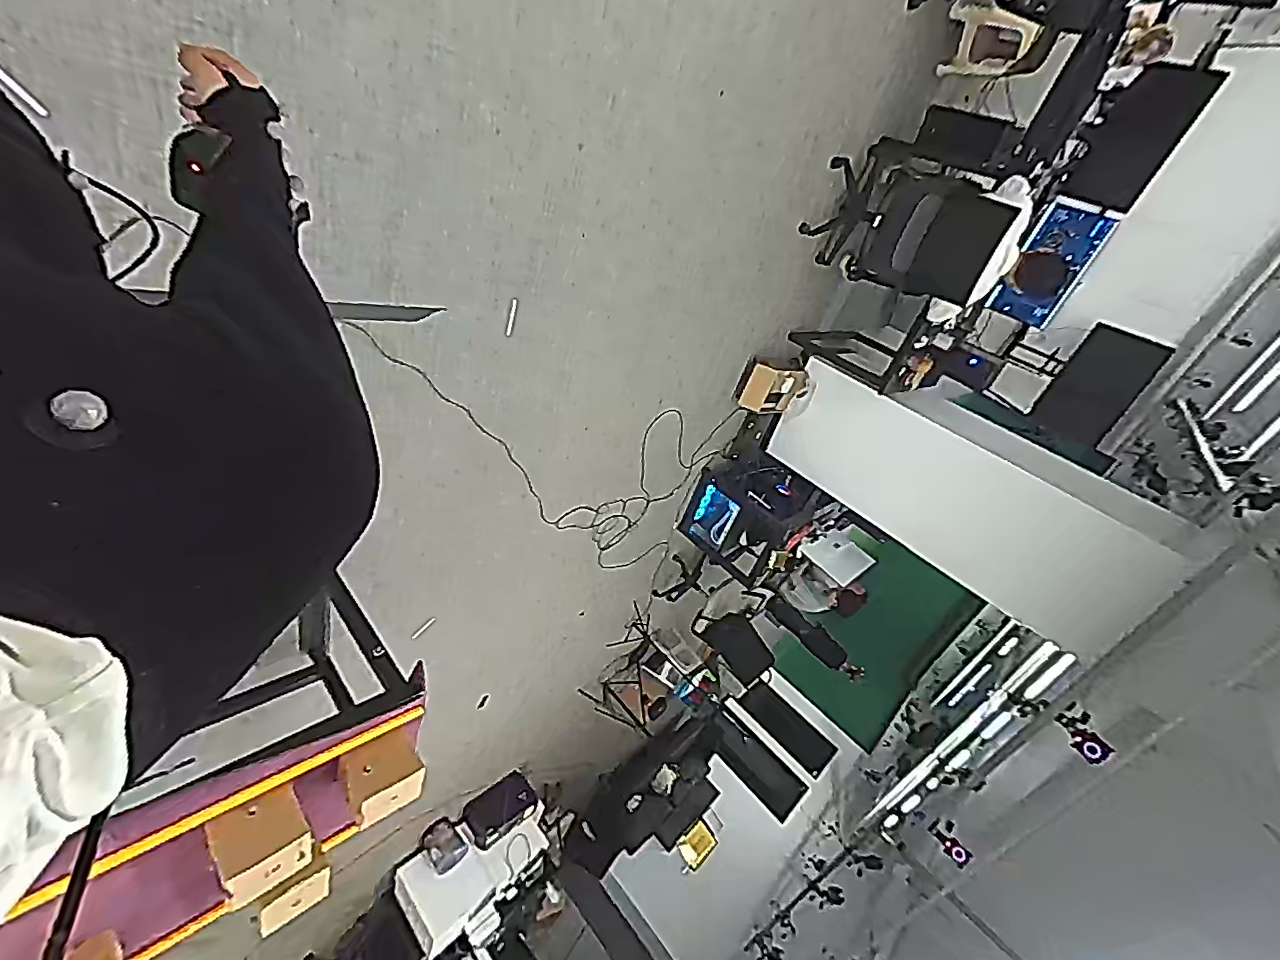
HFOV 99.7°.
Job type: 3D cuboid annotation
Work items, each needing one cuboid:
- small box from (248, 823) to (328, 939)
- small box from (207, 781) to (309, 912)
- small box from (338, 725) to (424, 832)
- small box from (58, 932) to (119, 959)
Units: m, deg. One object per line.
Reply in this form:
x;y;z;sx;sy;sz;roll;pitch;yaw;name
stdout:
-0.997;1.110;1.514;0.168;0.176;0.179;-15;133;-47;small box
-0.950;0.902;1.345;0.179;0.176;0.168;-15;136;-46;small box
-0.753;0.853;1.560;0.179;0.176;0.168;-13;134;-44;small box
-1.279;1.183;1.206;0.179;0.176;0.168;-15;134;-47;small box
